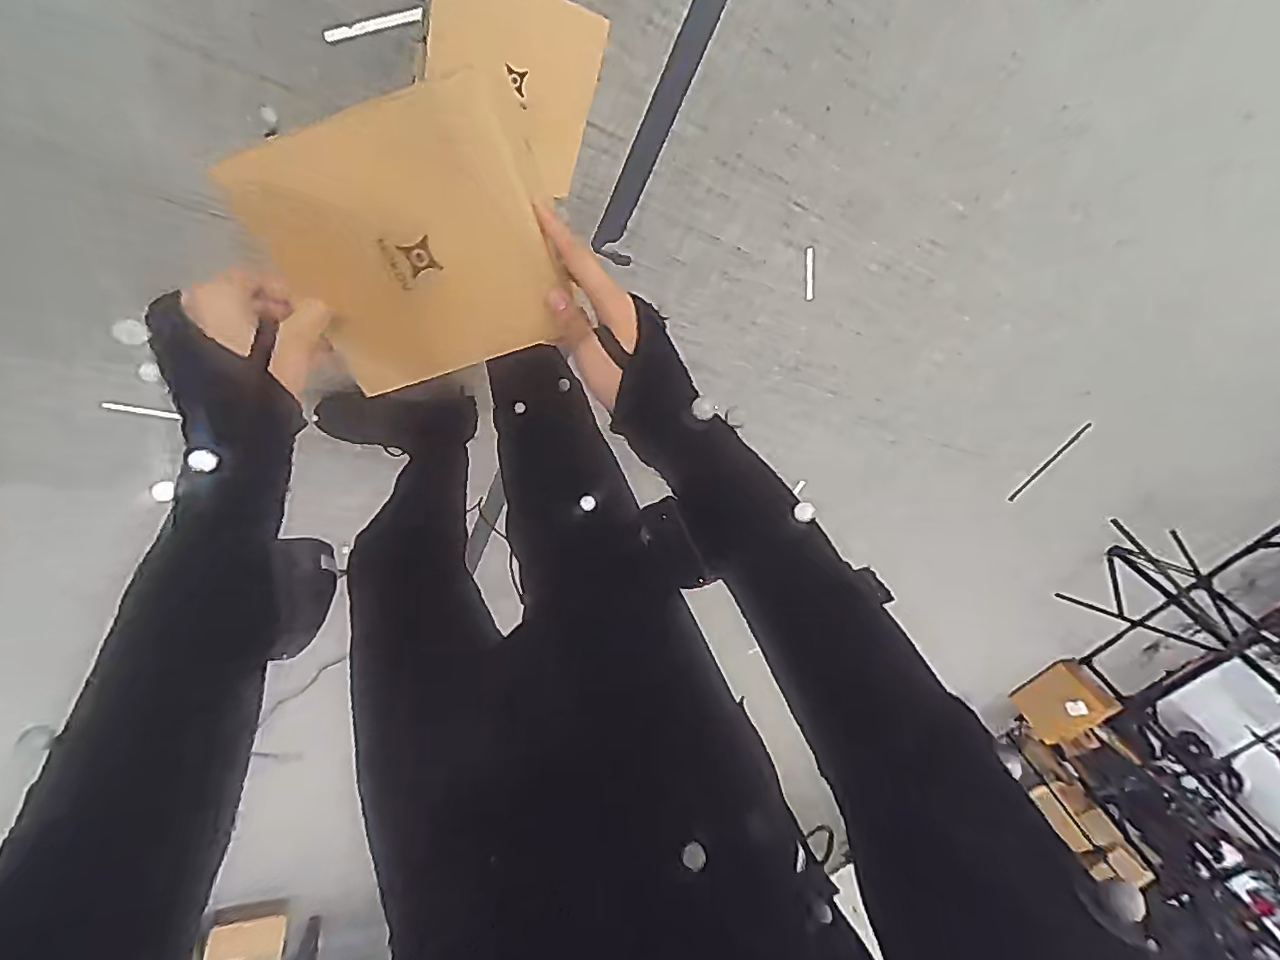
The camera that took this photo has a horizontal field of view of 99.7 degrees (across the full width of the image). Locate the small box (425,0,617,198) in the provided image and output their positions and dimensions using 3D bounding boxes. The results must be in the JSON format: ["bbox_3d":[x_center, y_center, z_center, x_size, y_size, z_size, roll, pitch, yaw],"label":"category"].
[{"bbox_3d":[-0.146,-0.452,0.602,0.168,0.176,0.179,5,129,-26],"label":"small box"}]

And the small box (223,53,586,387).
[{"bbox_3d":[-0.151,-0.203,0.417,0.179,0.176,0.168,-15,131,6],"label":"small box"}]
